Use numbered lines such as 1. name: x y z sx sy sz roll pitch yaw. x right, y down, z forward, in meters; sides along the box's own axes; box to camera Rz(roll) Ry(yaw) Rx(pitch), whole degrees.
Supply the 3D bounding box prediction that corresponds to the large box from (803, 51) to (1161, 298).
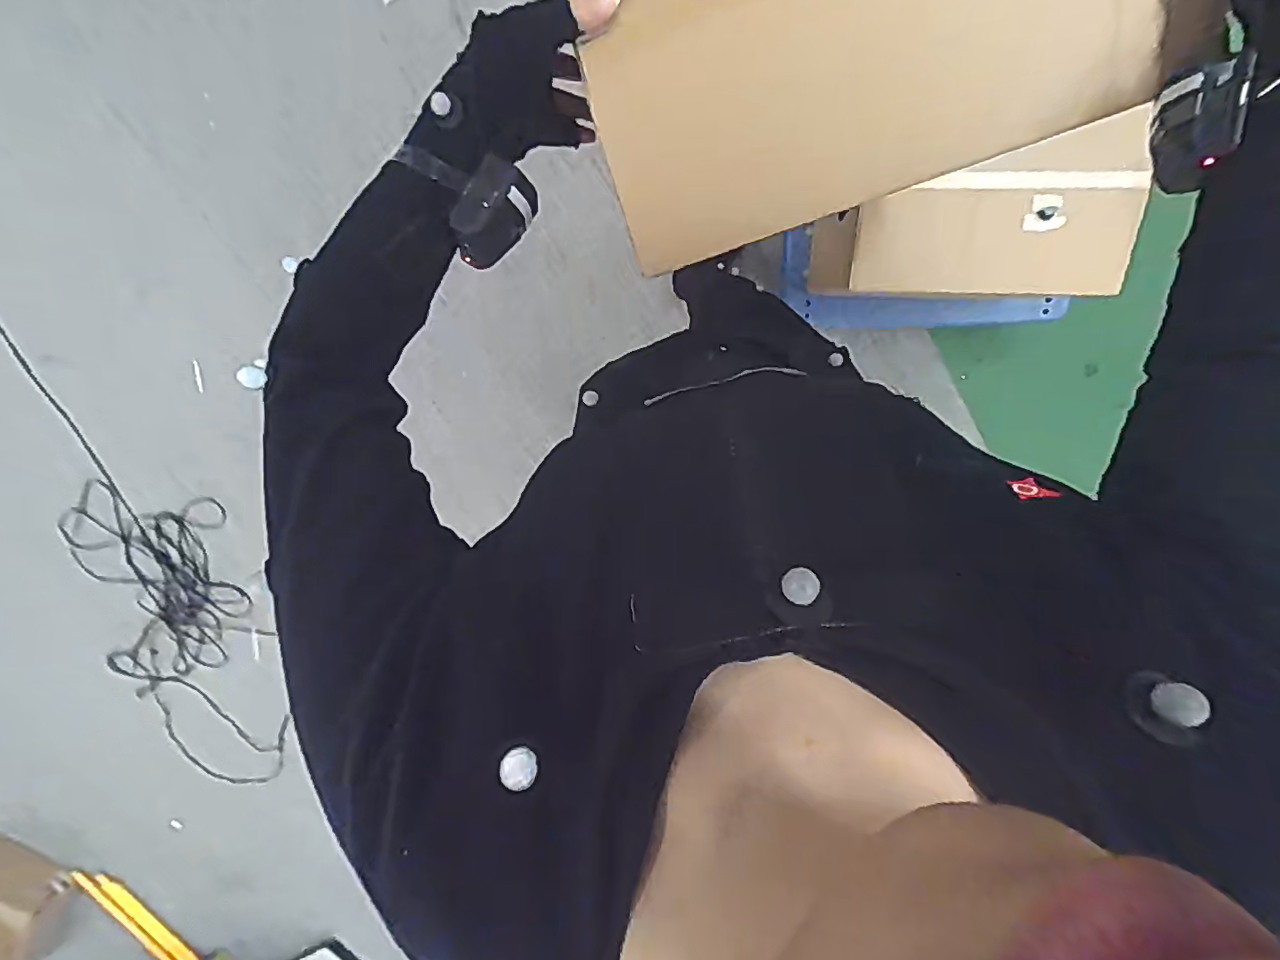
1. large box: 0.525 -0.486 0.935 0.408 0.320 0.320 2 107 3
